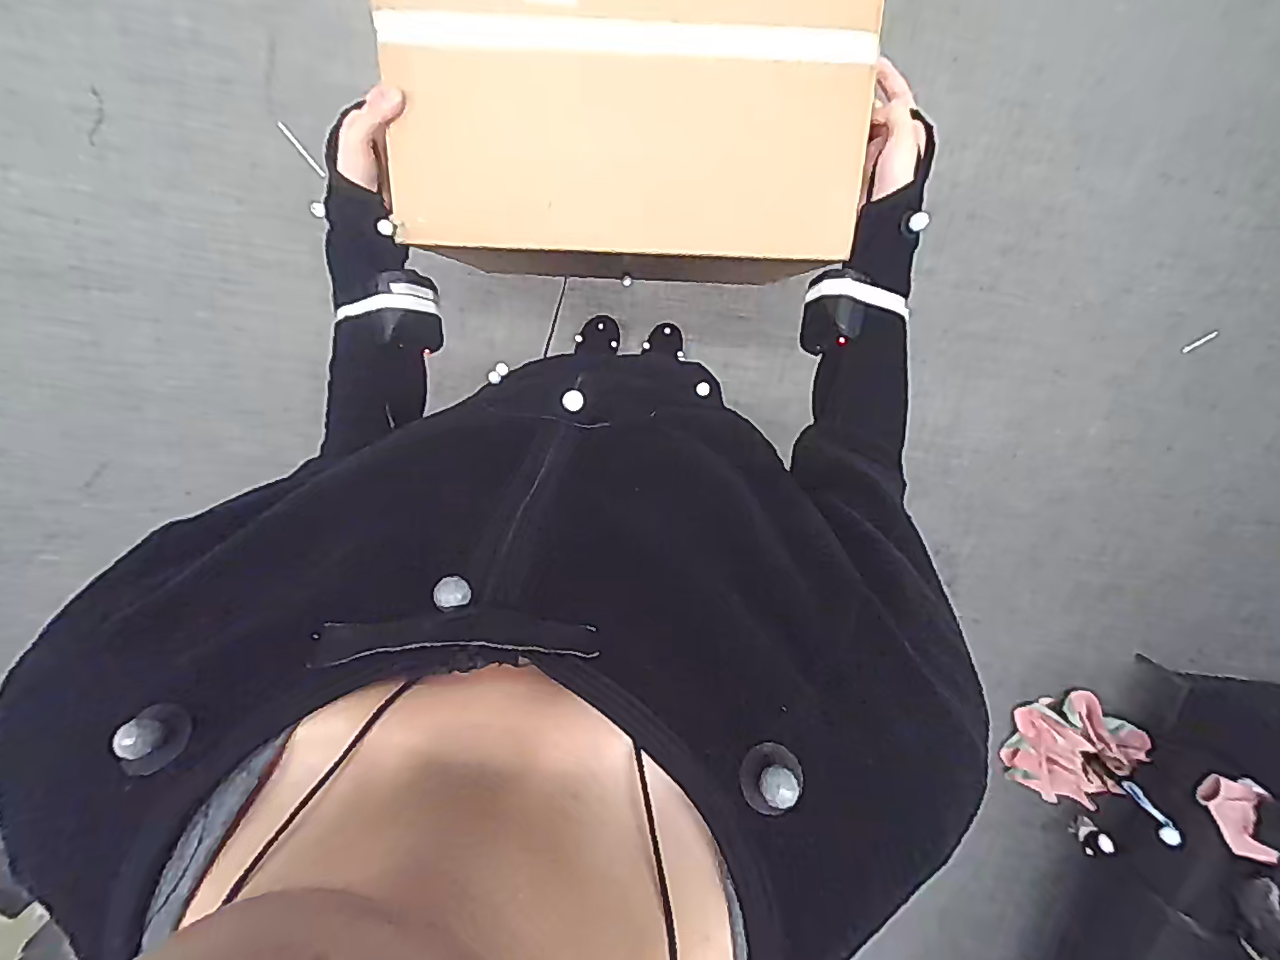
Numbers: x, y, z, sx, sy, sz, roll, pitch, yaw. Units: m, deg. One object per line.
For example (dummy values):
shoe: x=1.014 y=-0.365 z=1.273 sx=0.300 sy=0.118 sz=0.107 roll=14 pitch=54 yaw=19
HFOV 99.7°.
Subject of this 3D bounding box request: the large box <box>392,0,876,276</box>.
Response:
large box: x=-0.005 y=-0.398 z=0.595 sx=0.408 sy=0.320 sz=0.320 roll=2 pitch=105 yaw=-1
